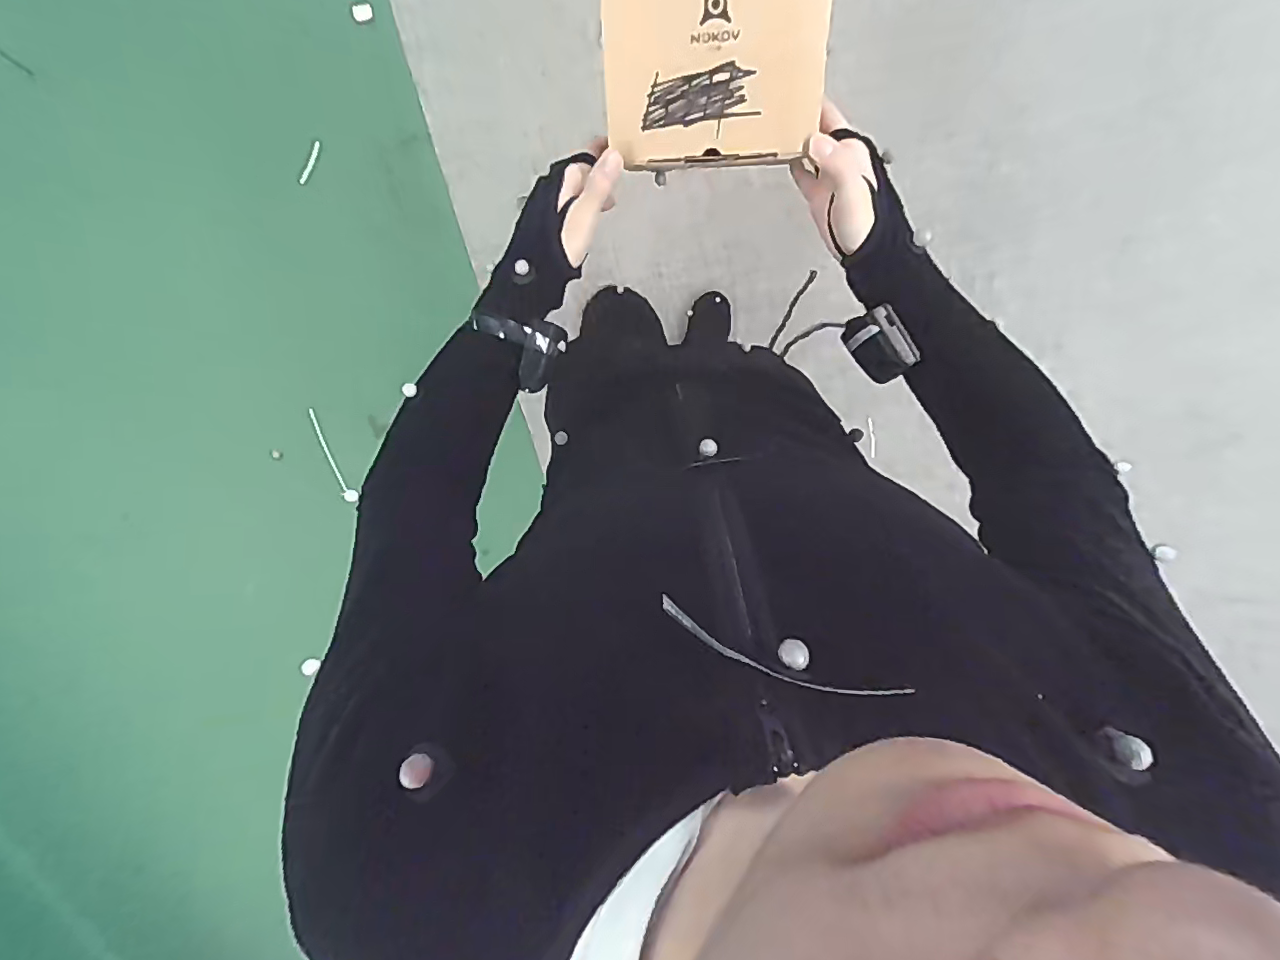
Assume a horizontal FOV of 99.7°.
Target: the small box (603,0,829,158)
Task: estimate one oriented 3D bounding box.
[{"bbox_3d":[0.063,-0.381,0.462,0.168,0.176,0.179,1,116,6],"label":"small box"}]
